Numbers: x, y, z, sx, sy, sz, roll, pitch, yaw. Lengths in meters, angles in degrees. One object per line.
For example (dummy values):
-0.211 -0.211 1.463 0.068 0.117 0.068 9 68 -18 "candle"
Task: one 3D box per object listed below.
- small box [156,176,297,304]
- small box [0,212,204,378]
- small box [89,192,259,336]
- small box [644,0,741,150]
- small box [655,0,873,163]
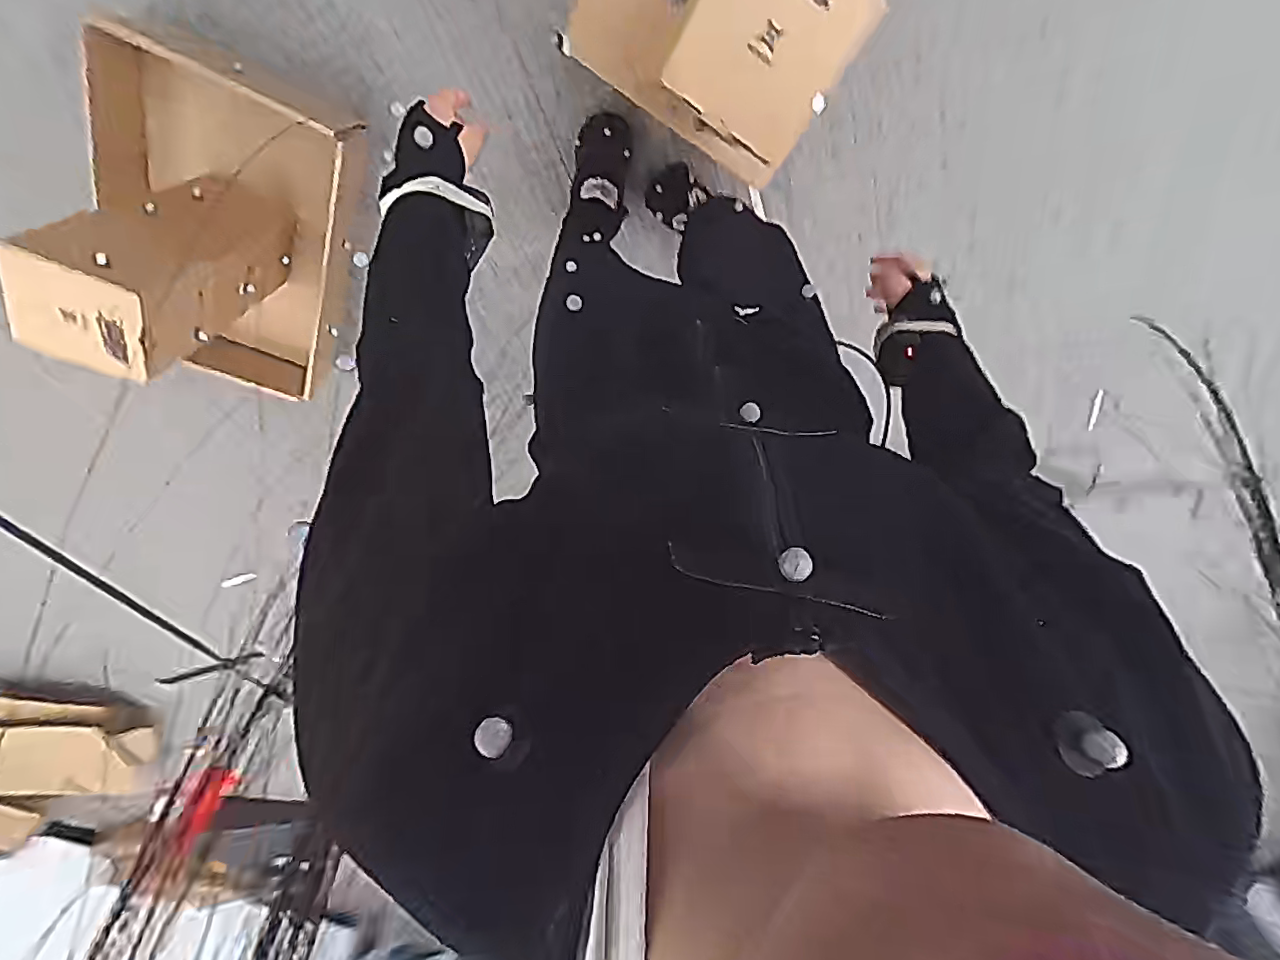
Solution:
-0.851 -0.501 1.117 0.179 0.176 0.168 22 124 -21 "small box"
-0.837 -0.298 0.861 0.179 0.176 0.168 21 125 -18 "small box"
-0.842 -0.400 0.990 0.179 0.176 0.168 21 125 -21 "small box"
0.115 -0.616 0.773 0.168 0.176 0.179 23 123 -22 "small box"
0.129 -0.520 0.640 0.168 0.176 0.179 23 124 -23 "small box"
